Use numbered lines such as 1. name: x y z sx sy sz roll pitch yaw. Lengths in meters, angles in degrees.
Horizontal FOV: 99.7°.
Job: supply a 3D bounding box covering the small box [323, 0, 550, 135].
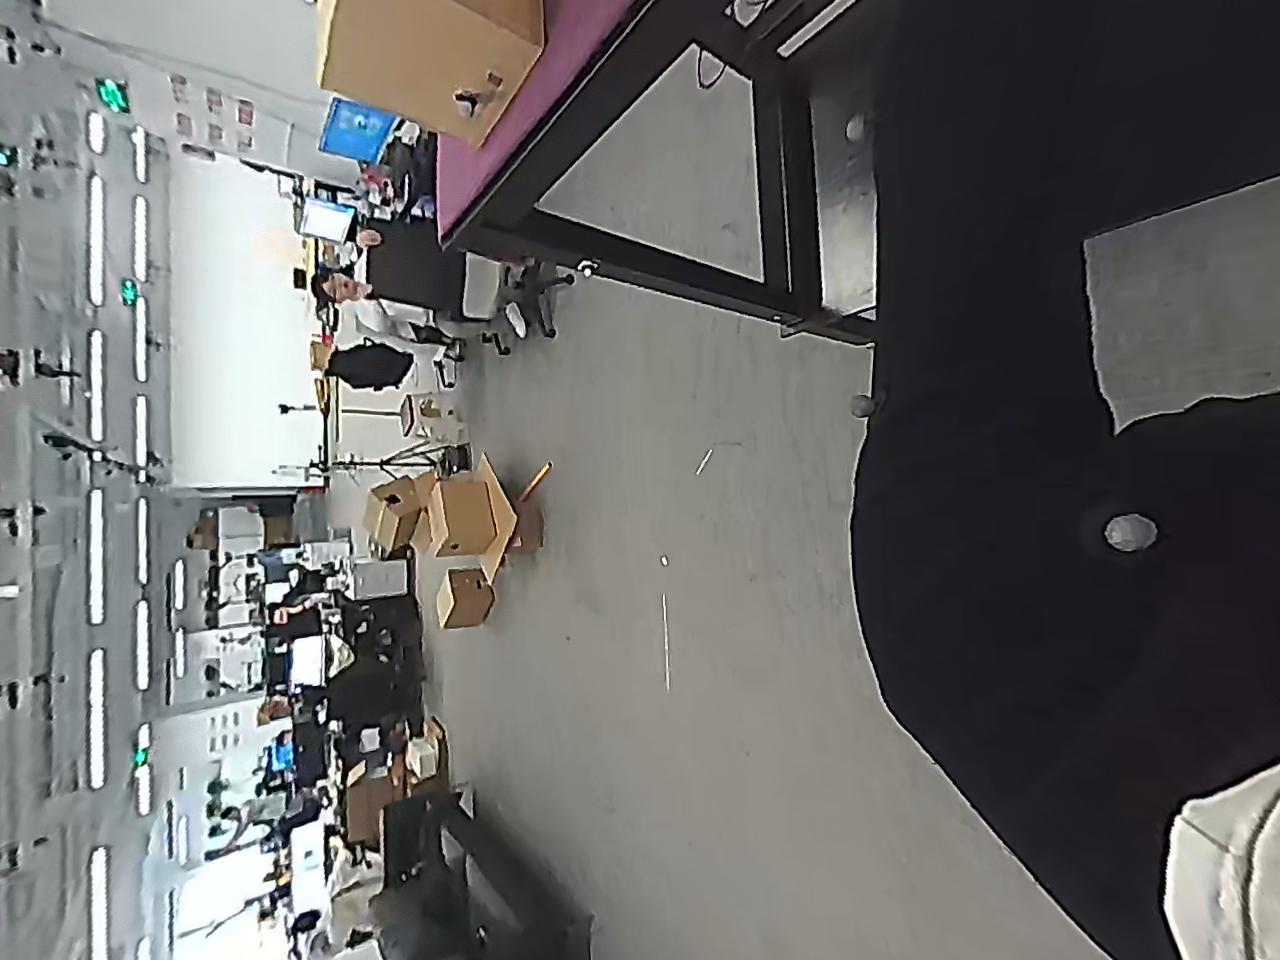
1. small box: -0.197 -0.486 0.523 0.168 0.176 0.179 -8 84 53
